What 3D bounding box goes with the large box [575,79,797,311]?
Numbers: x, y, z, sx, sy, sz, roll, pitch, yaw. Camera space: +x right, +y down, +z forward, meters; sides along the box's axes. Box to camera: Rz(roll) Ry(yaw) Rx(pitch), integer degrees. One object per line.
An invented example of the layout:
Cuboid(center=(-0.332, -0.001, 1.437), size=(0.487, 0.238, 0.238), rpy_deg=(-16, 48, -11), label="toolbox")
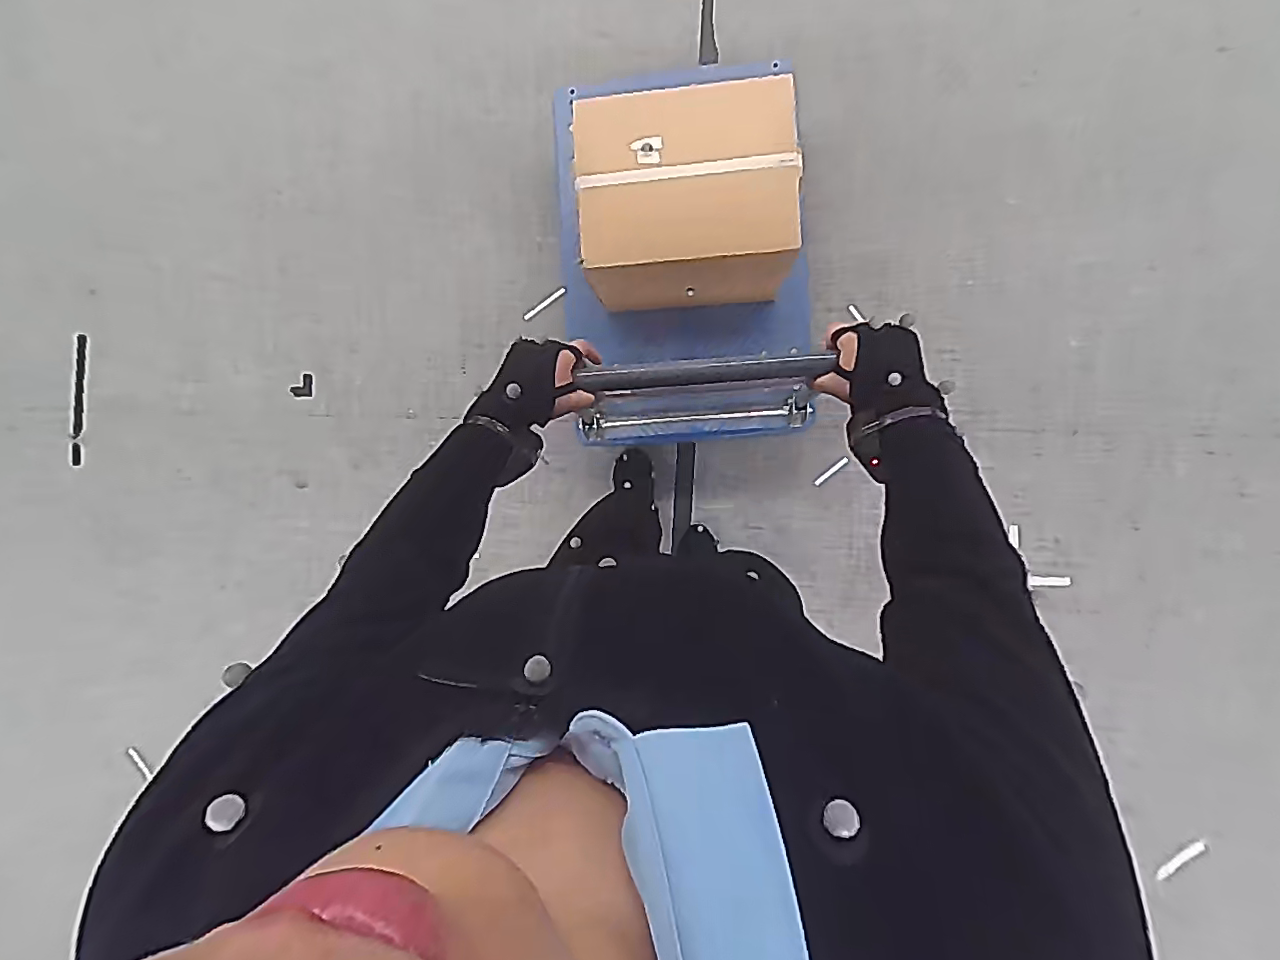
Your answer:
Cuboid(center=(0.100, -0.571, 1.158), size=(0.408, 0.320, 0.320), rpy_deg=(-3, 91, 7), label="large box")
